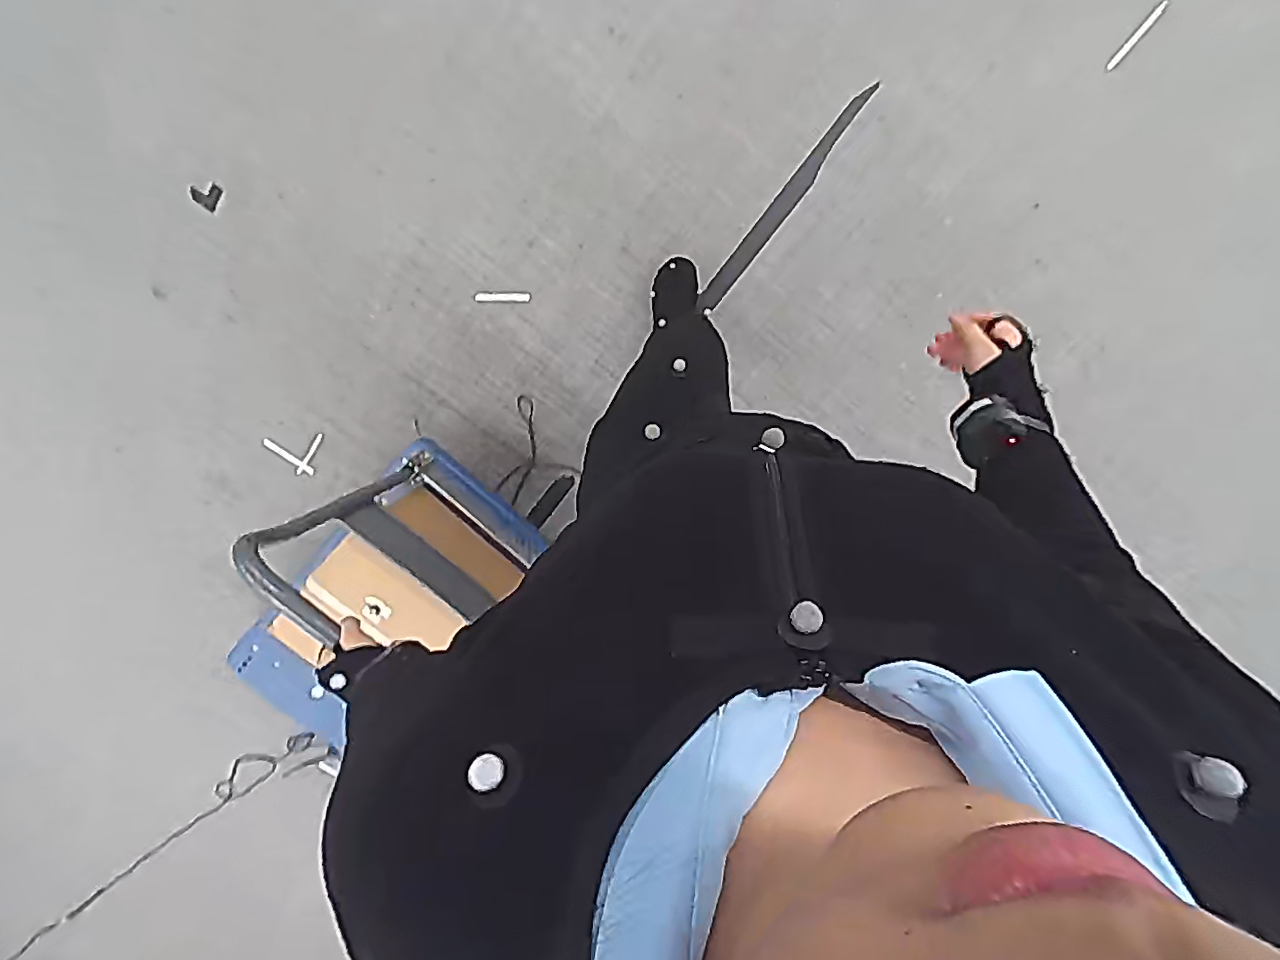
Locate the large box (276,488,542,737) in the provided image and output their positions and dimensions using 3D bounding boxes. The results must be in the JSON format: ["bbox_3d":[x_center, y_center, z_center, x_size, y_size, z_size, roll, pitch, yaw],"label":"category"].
[{"bbox_3d":[-0.500,0.288,1.256,0.408,0.320,0.320,43,101,-8],"label":"large box"}]
